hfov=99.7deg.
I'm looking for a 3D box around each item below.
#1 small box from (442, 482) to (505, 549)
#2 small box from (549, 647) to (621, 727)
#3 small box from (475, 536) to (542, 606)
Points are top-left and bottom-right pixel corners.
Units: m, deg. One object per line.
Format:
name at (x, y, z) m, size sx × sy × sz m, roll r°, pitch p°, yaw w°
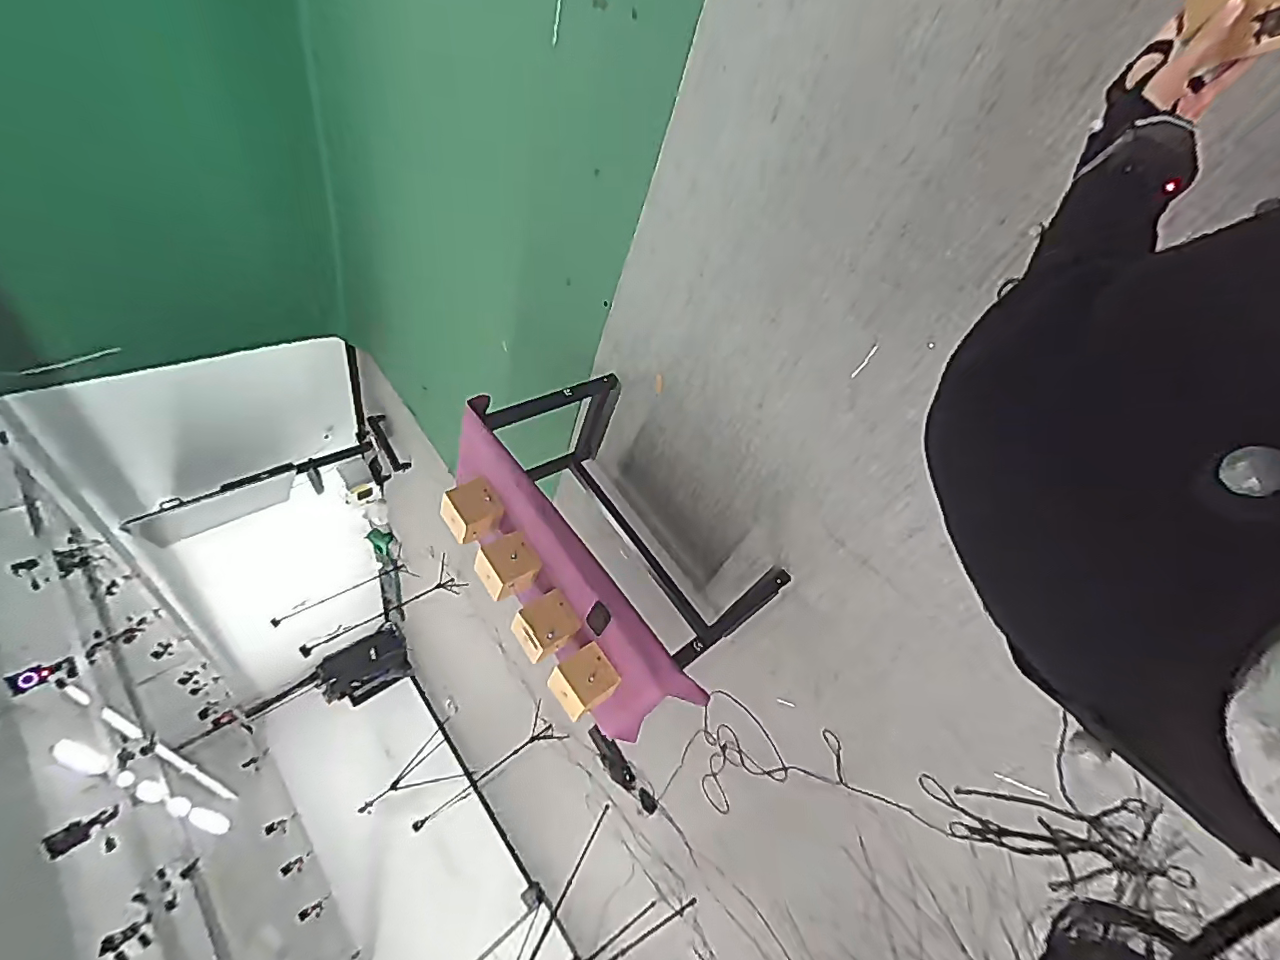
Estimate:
small box at (-0.637, 0.135, 2.077) m, size 0.168 × 0.176 × 0.179 m, roll 53°, pitch 142°, yaw 14°
small box at (-0.186, 0.704, 1.849) m, size 0.168 × 0.176 × 0.179 m, roll 49°, pitch 142°, yaw 21°
small box at (-0.485, 0.333, 2.002) m, size 0.168 × 0.176 × 0.179 m, roll 53°, pitch 143°, yaw 16°
